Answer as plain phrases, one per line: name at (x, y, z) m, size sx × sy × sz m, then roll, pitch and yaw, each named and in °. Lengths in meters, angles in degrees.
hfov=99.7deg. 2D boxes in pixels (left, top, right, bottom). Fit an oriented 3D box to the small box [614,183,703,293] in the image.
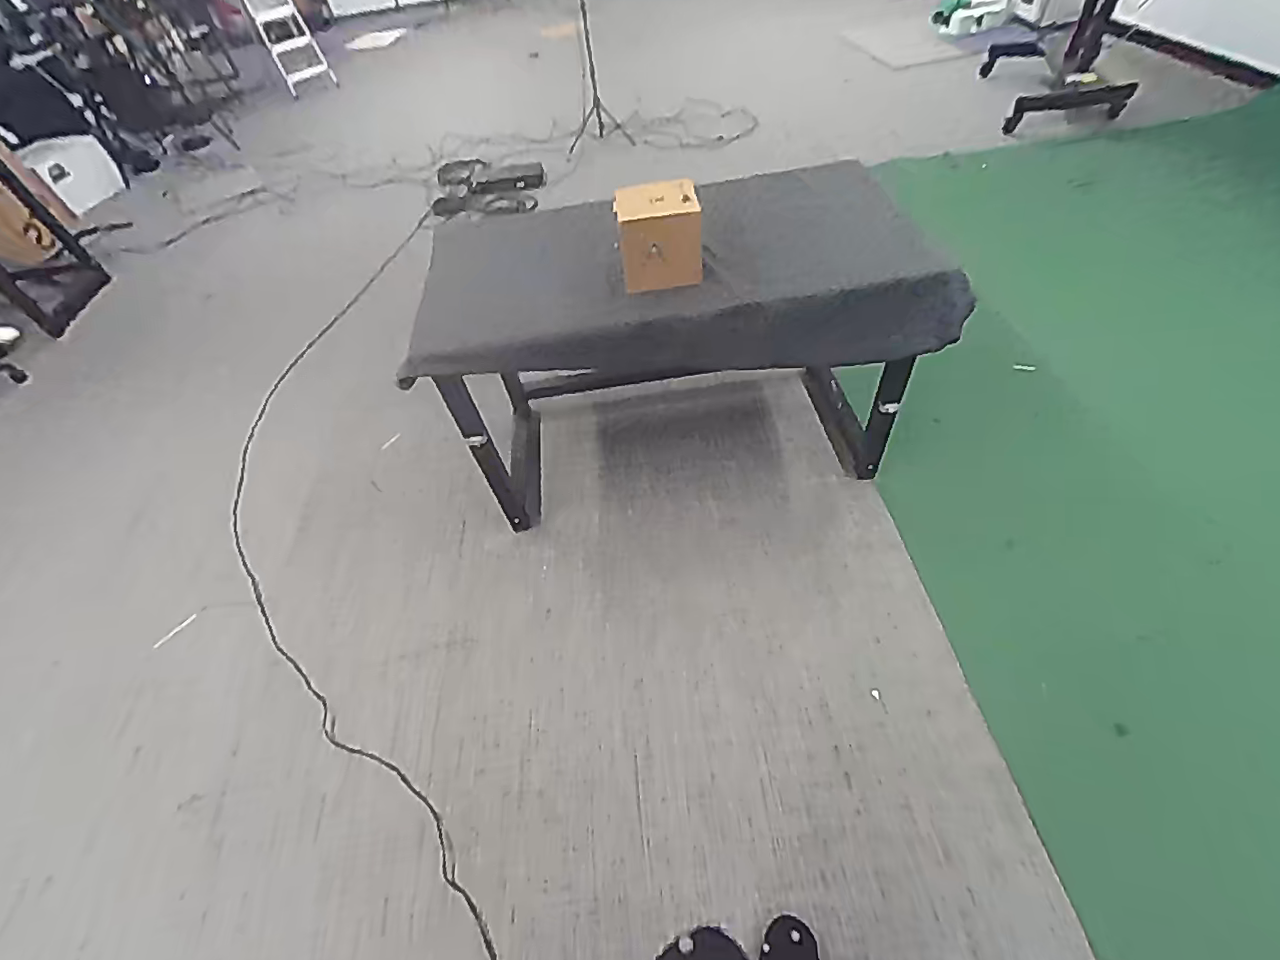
small box at (0.044, -0.547, 1.233) m, size 0.179 × 0.176 × 0.168 m, roll -9°, pitch 49°, yaw 0°
